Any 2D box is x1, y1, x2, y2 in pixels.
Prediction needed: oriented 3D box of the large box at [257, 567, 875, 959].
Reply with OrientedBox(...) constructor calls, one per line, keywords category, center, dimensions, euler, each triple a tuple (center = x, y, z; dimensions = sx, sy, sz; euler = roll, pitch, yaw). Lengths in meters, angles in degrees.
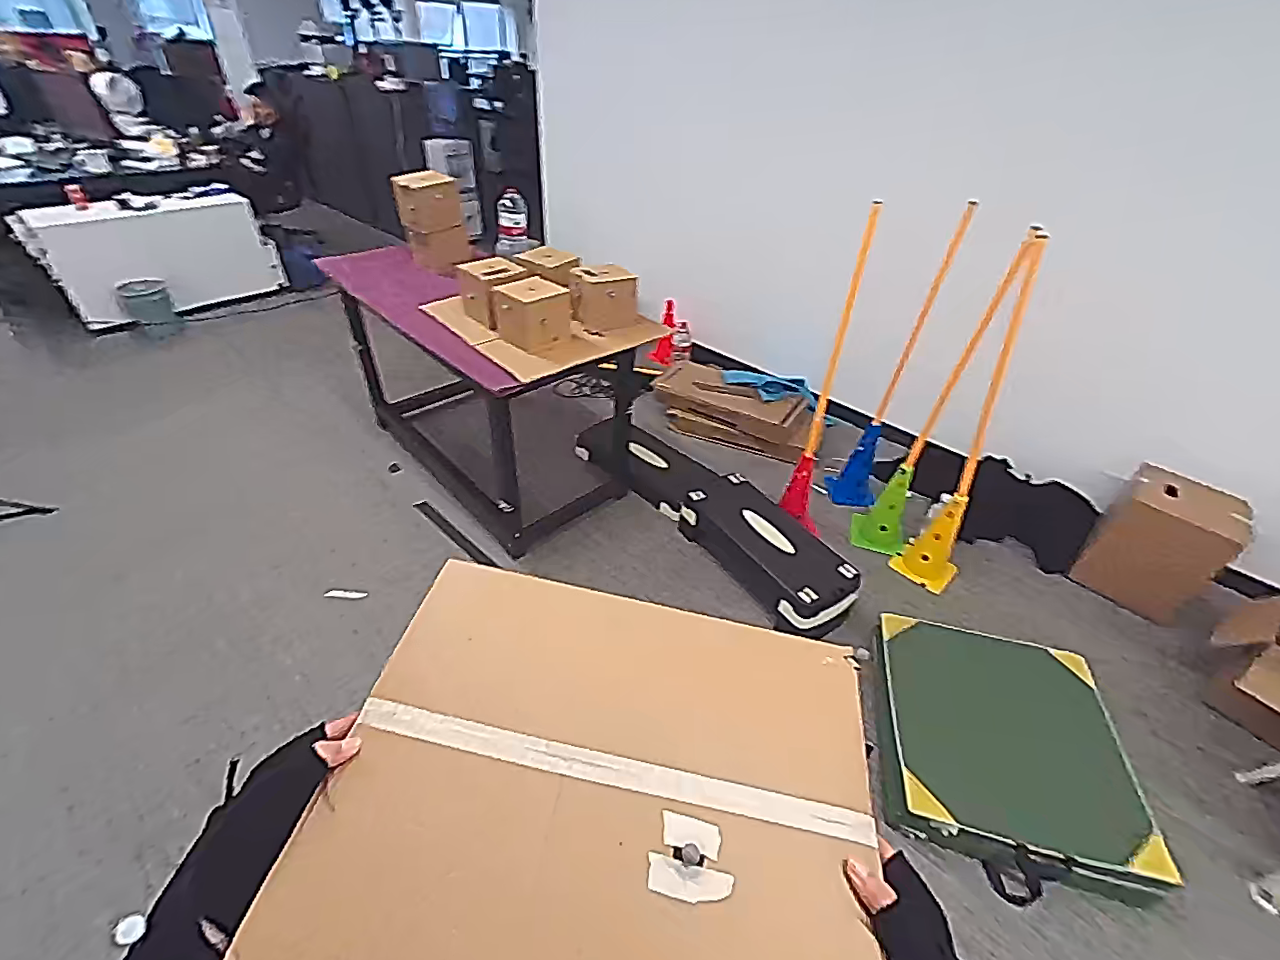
OrientedBox(category="large box", center=(-0.039, 0.334, 0.534), dimensions=(0.408, 0.320, 0.320), euler=(12, 44, 3))
